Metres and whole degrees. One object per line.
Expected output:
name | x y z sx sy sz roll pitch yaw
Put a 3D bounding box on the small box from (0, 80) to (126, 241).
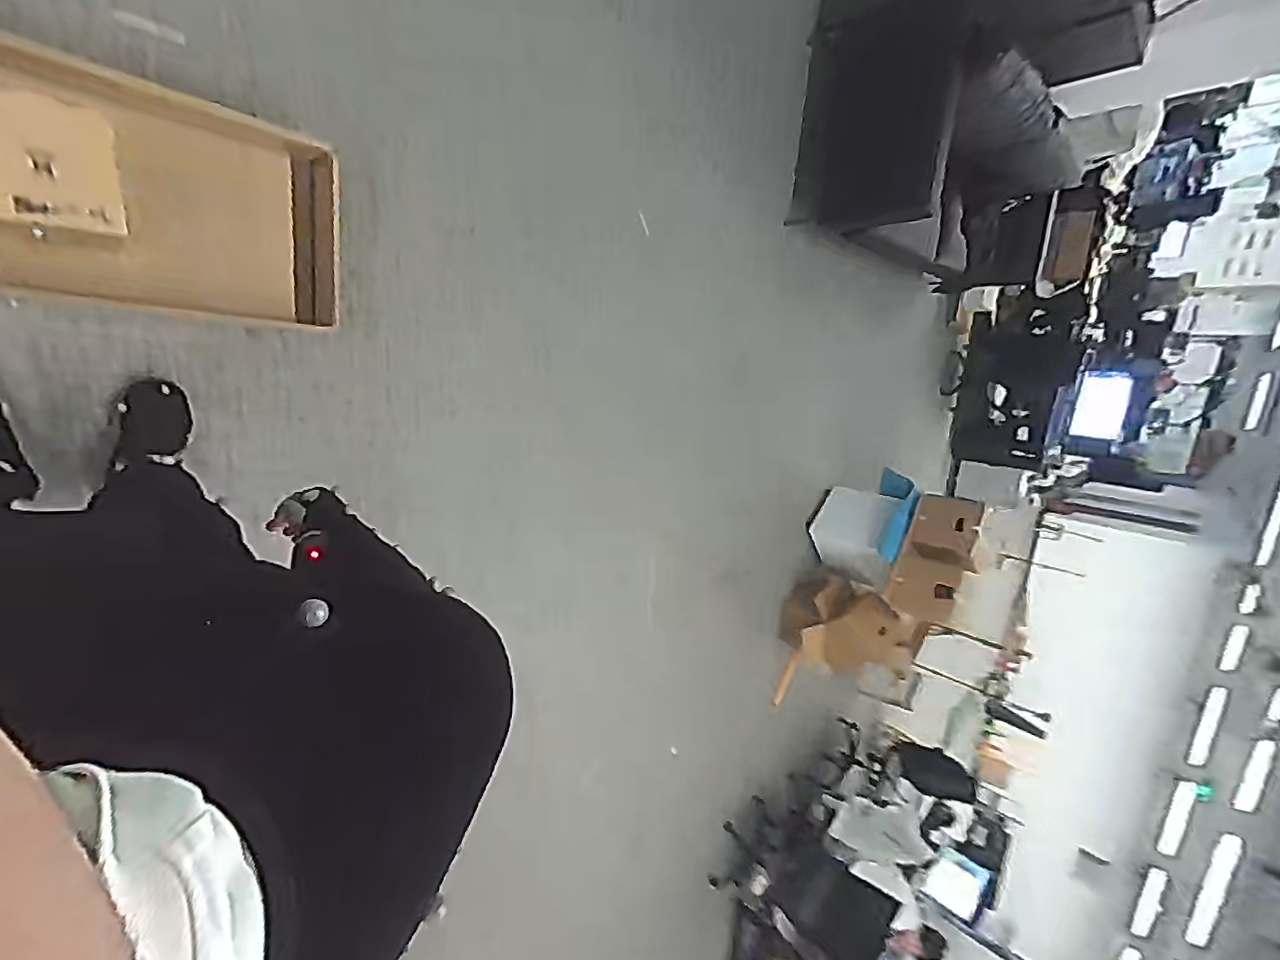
small box | -0.924 -0.486 0.837 0.168 0.176 0.179 -9 108 -44
